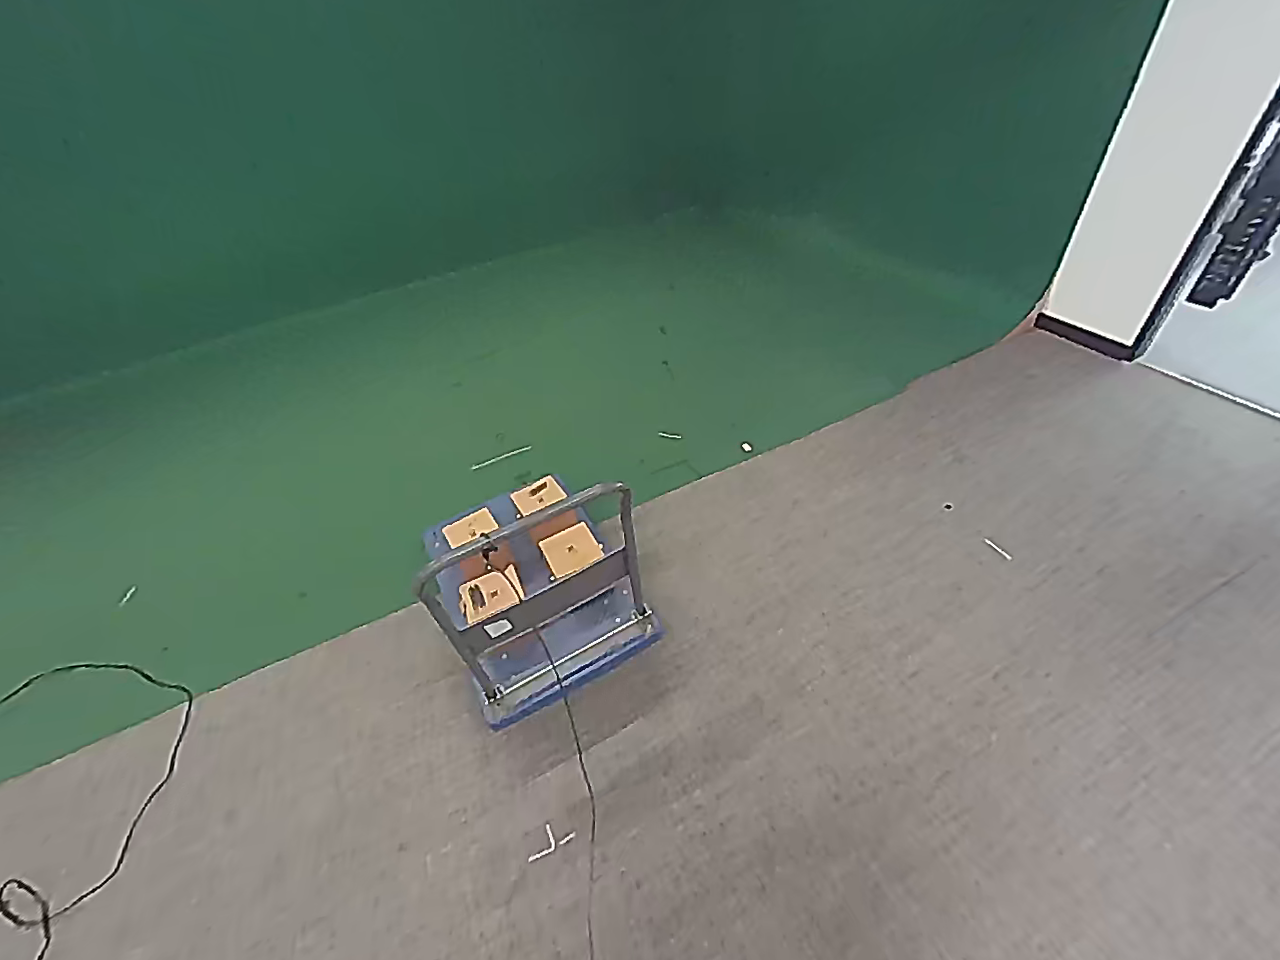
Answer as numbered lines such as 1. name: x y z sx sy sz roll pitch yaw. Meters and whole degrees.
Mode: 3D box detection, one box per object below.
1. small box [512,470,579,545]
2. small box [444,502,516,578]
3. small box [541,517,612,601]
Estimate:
1. small box: -0.335 0.102 1.943 0.168 0.176 0.179 -28 48 -18
2. small box: -0.546 0.214 1.862 0.168 0.176 0.179 -27 47 -19
3. small box: -0.207 0.259 1.764 0.168 0.176 0.179 -24 47 -15
